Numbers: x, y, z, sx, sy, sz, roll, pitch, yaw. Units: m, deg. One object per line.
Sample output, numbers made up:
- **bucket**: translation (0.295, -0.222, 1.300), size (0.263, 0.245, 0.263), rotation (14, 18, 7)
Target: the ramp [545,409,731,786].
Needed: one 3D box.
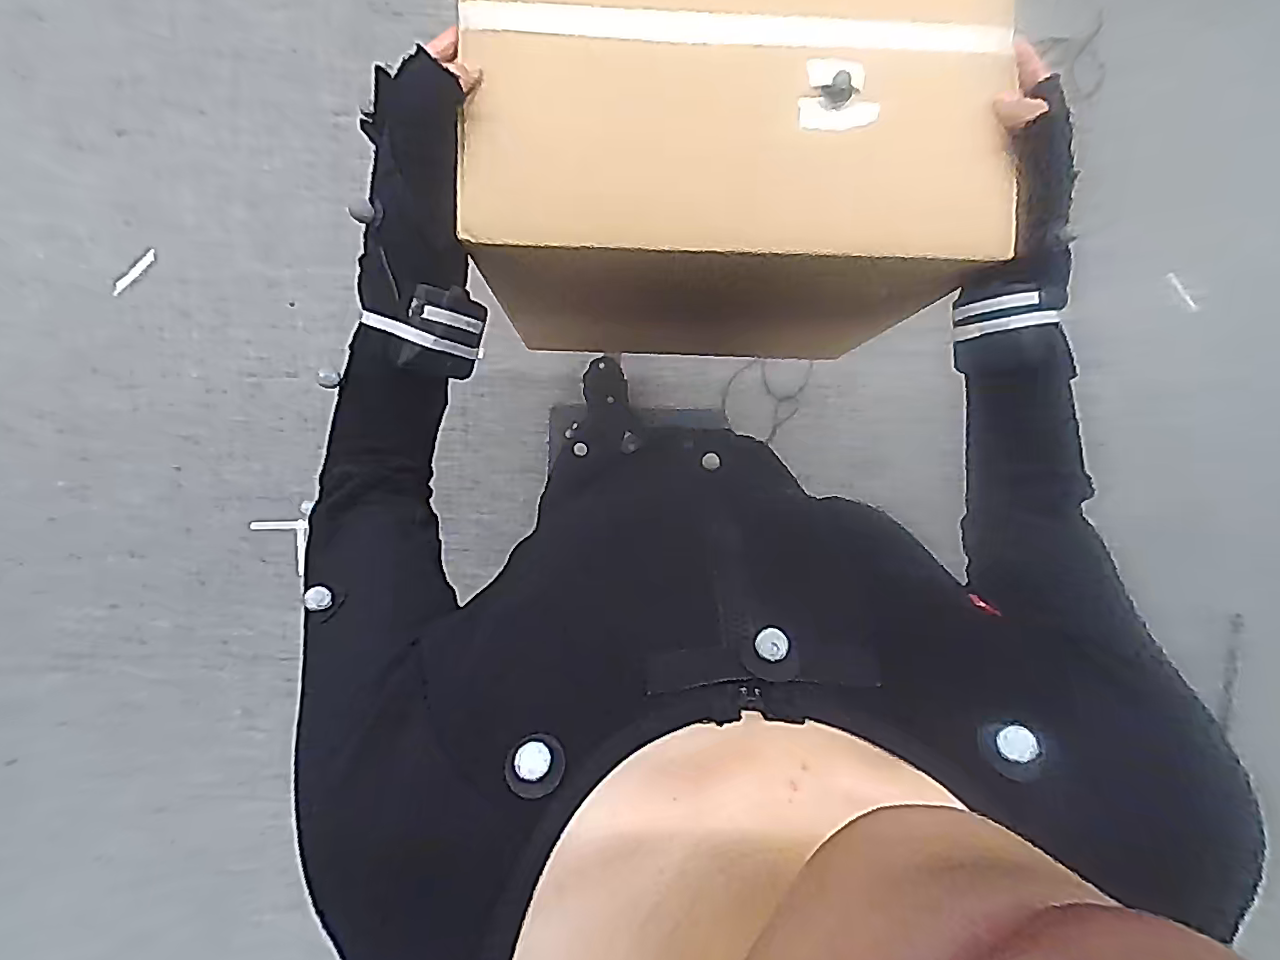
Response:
- **ramp**: translation (-0.002, 0.297, 1.469), size (0.509, 0.206, 0.991), rotation (-1, 93, 1)

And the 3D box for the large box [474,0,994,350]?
- **large box**: translation (0.065, -0.326, 0.558), size (0.408, 0.320, 0.320), rotation (1, 89, -3)
